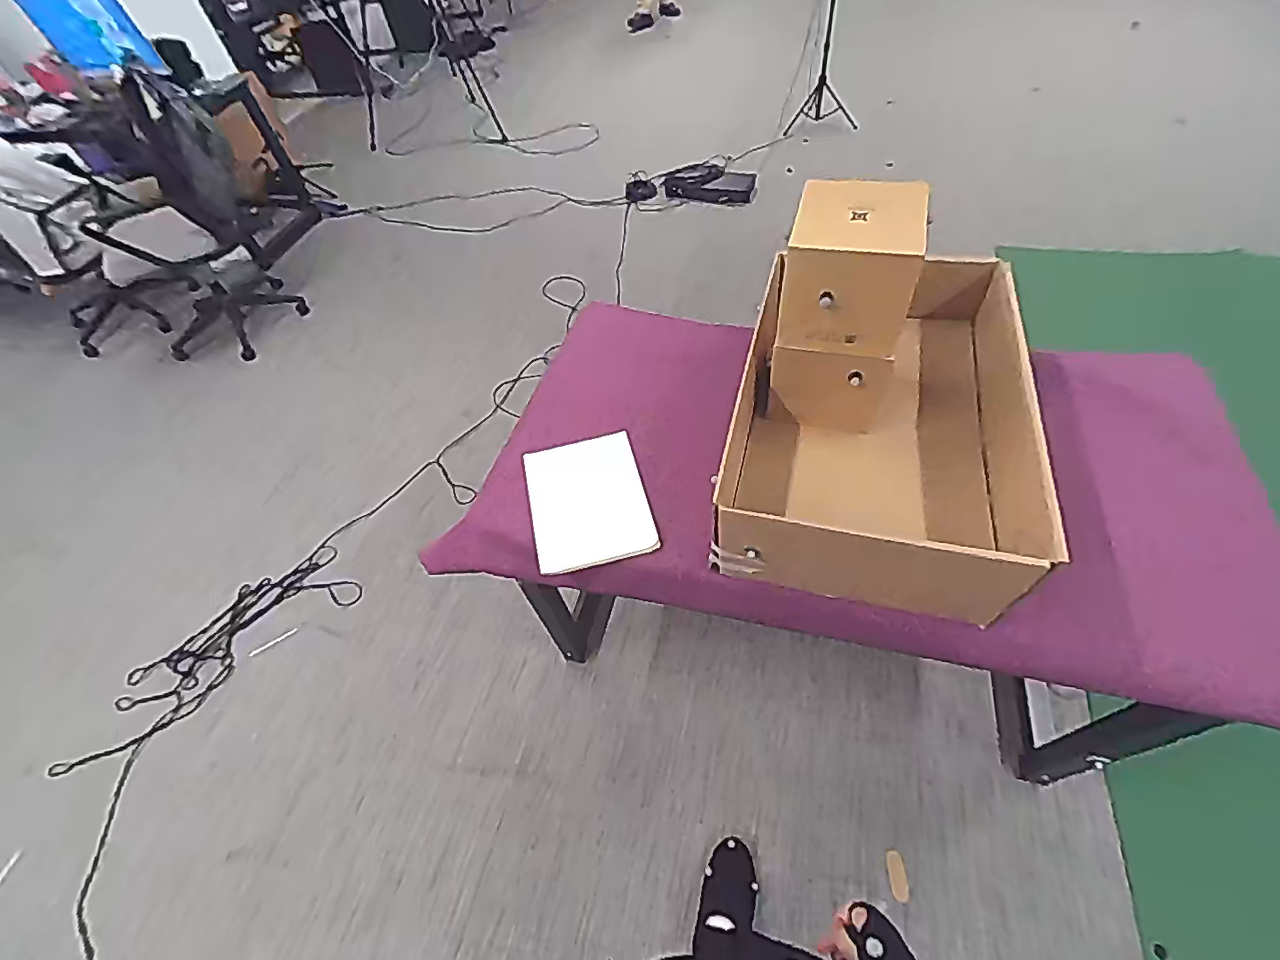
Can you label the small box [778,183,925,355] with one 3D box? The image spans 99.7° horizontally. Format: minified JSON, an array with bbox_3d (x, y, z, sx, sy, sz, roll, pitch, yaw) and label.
[{"bbox_3d":[0.299,-0.303,0.784,0.168,0.176,0.179,11,56,16],"label":"small box"}]
